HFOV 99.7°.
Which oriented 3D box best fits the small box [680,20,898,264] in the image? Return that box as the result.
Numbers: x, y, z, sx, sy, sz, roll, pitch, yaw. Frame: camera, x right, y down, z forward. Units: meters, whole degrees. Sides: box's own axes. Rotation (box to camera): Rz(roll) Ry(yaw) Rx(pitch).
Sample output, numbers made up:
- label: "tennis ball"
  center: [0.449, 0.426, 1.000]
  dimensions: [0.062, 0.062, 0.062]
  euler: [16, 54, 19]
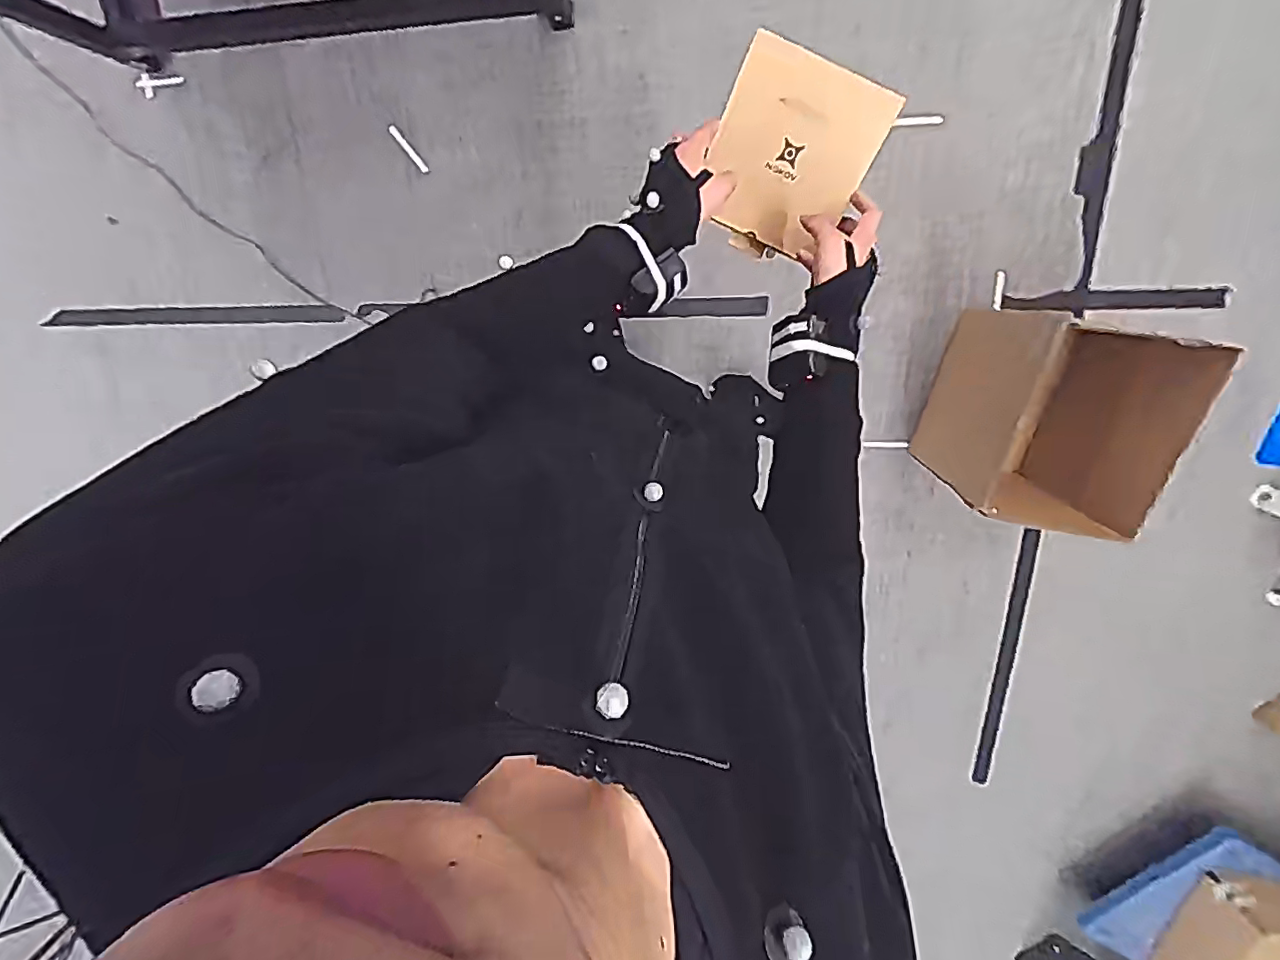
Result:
- label: "small box"
  center: [0.164, -0.383, 0.635]
  dimensions: [0.168, 0.176, 0.179]
  euler: [24, 120, -3]
